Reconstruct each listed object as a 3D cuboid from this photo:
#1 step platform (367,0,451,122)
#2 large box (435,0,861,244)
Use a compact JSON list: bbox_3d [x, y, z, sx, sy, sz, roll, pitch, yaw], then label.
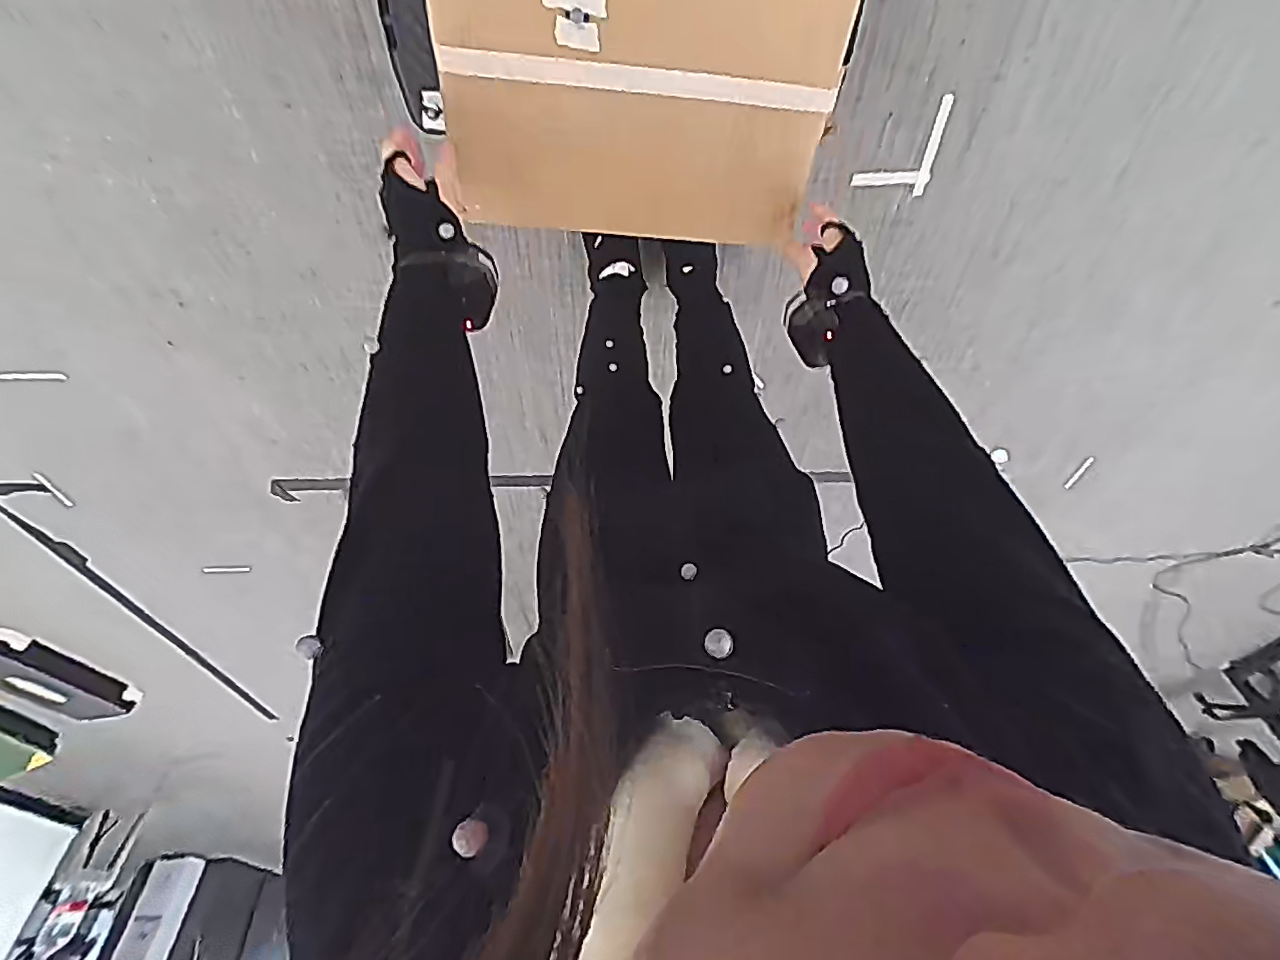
[{"bbox_3d":[-0.039,-0.680,0.813,0.684,0.204,0.286,4,135,-7],"label":"step platform"},{"bbox_3d":[0.001,-0.511,0.646,0.408,0.320,0.320,3,135,-6],"label":"large box"}]
